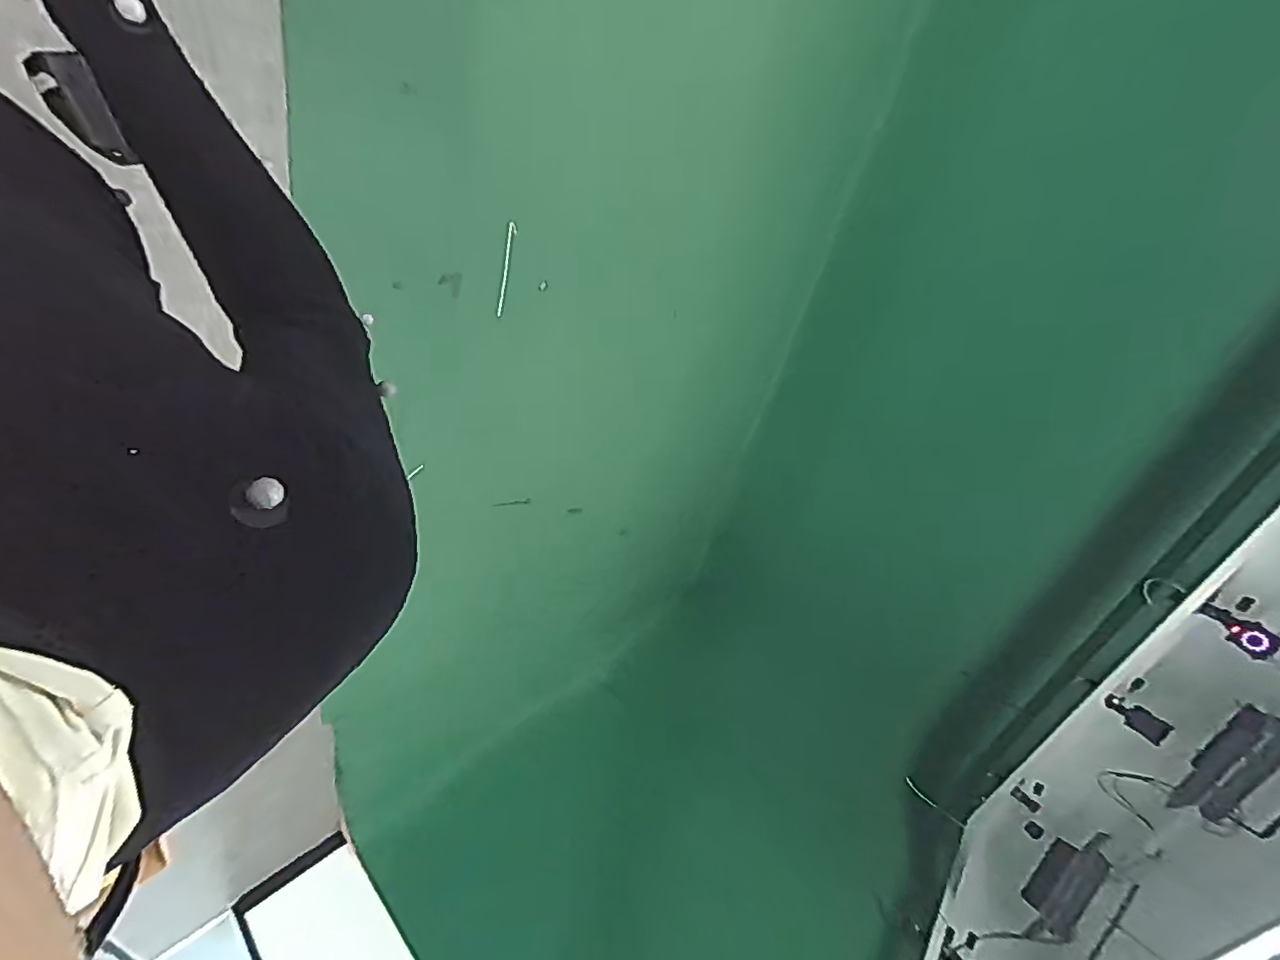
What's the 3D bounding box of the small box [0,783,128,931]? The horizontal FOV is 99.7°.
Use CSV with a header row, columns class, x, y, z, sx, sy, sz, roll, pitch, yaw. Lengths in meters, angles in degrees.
class,x,y,z,sx,sy,sz,roll,pitch,yaw
small box,-1.280,0.820,1.193,0.179,0.176,0.168,-17,133,-45
